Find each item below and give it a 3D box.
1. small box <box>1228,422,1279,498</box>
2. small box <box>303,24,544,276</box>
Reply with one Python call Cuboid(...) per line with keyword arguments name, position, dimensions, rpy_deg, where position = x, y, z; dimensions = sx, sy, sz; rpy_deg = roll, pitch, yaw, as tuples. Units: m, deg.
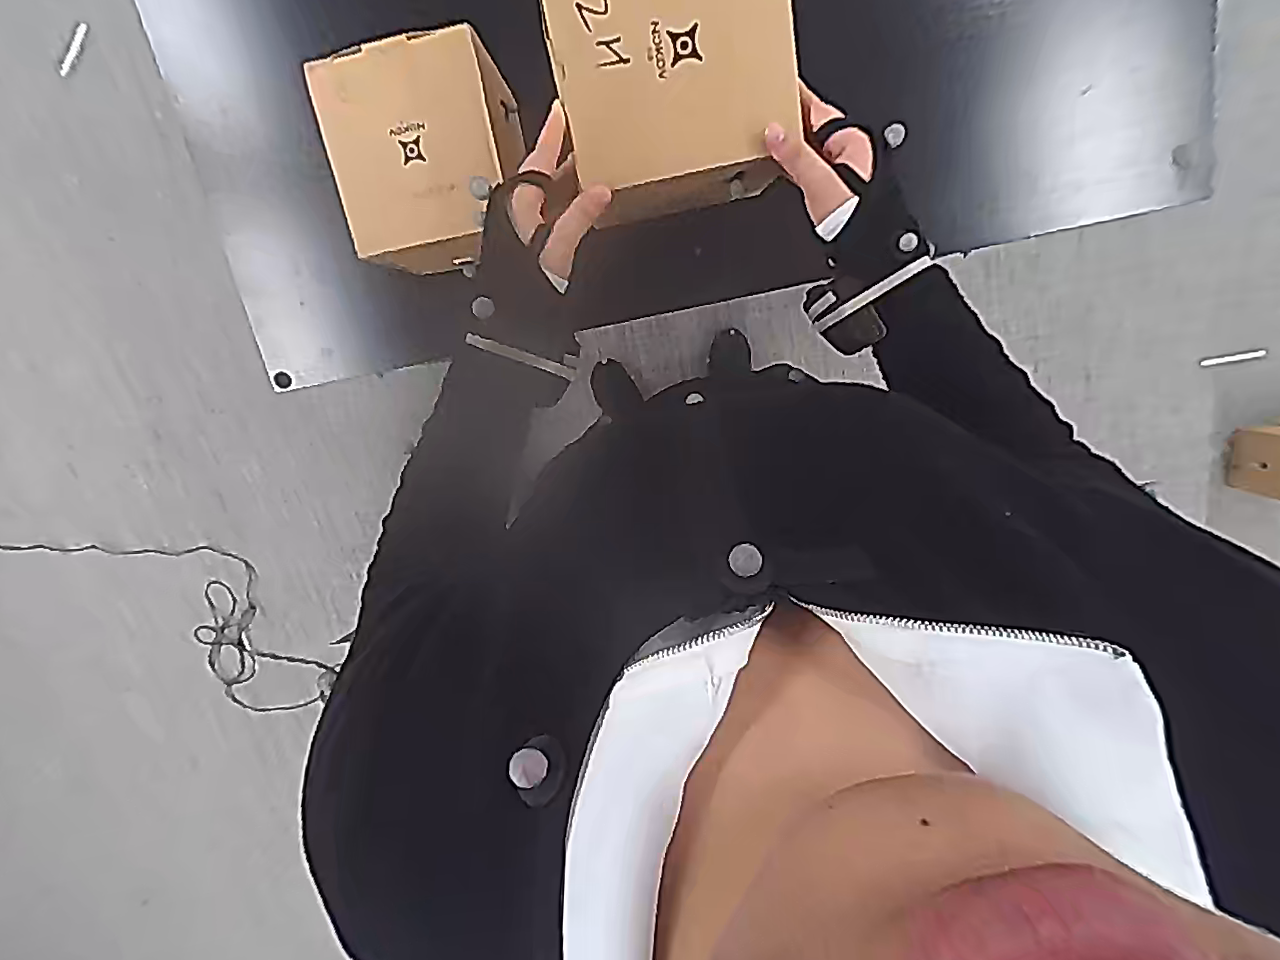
Cuboid(name="small box", position=(1.655, -0.050, 1.360), dimensions=(0.179, 0.176, 0.168), rpy_deg=(-8, 104, 4))
Cuboid(name="small box", position=(-0.215, -0.336, 0.590), dimensions=(0.168, 0.176, 0.179), rpy_deg=(-10, 105, 5))
